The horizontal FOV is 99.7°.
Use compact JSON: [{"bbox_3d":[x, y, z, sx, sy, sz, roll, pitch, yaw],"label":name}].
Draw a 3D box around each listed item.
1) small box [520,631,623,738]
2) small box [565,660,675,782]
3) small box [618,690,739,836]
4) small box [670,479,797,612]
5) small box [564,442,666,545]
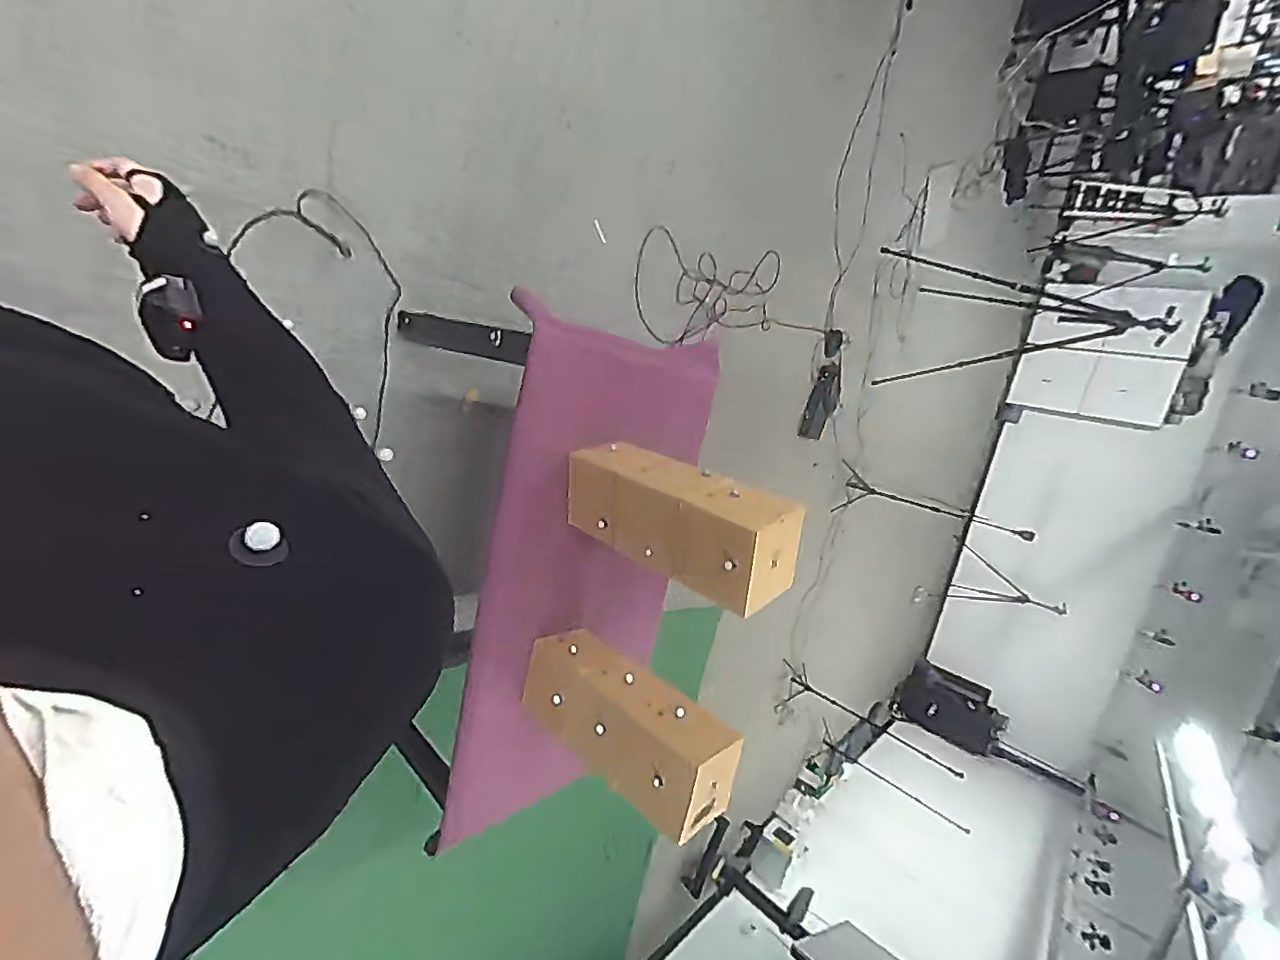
[{"bbox_3d":[-0.170,0.481,1.314,0.168,0.176,0.179,5,102,-50],"label":"small box"},{"bbox_3d":[-0.048,0.525,1.214,0.168,0.176,0.179,2,102,-49],"label":"small box"},{"bbox_3d":[0.075,0.569,1.113,0.168,0.176,0.179,1,104,-50],"label":"small box"},{"bbox_3d":[0.173,0.116,1.035,0.168,0.176,0.179,-19,120,-44],"label":"small box"},{"bbox_3d":[-0.061,0.024,1.243,0.168,0.176,0.179,-18,118,-45],"label":"small box"}]
